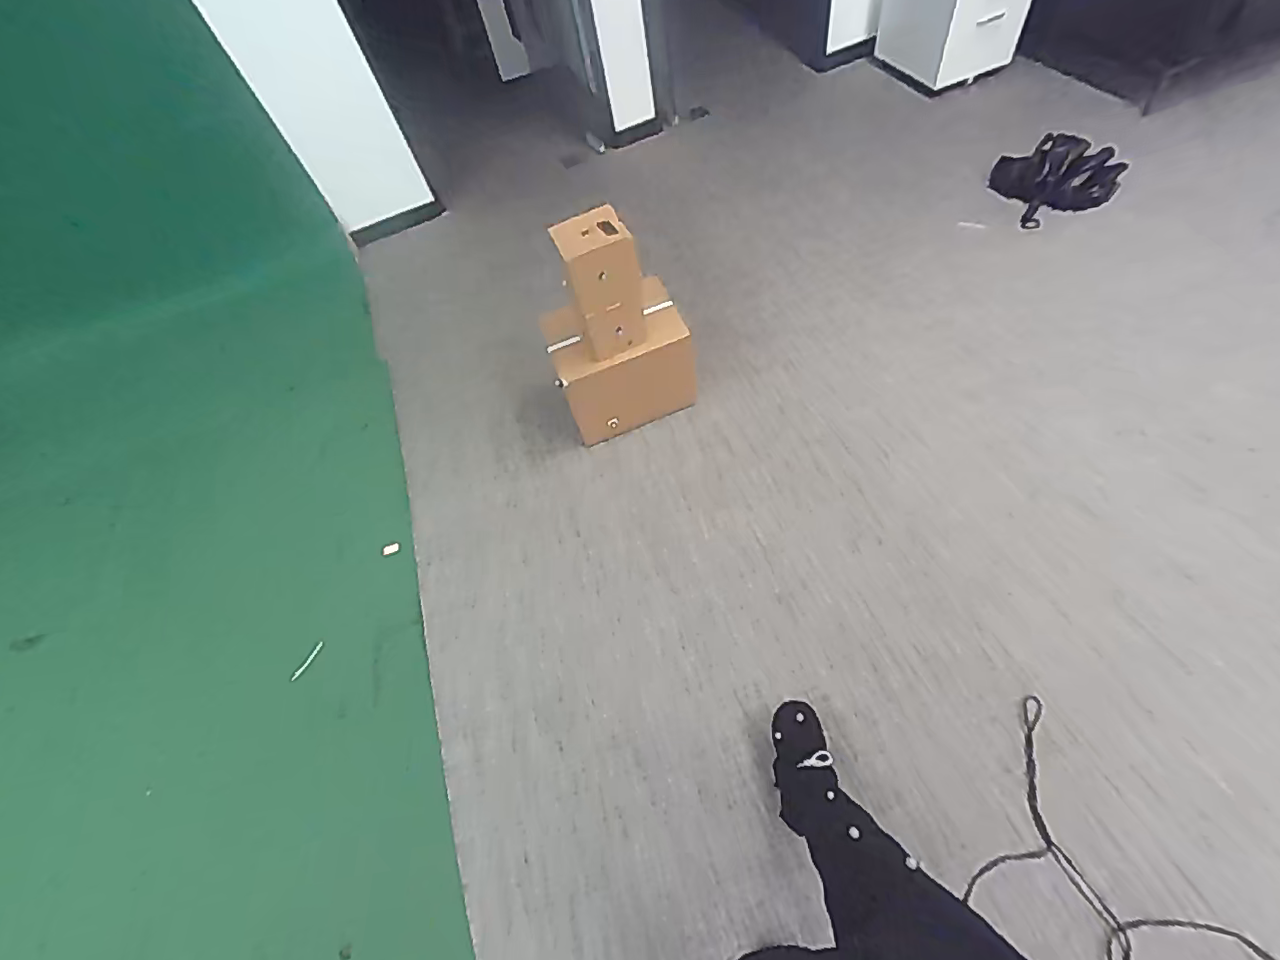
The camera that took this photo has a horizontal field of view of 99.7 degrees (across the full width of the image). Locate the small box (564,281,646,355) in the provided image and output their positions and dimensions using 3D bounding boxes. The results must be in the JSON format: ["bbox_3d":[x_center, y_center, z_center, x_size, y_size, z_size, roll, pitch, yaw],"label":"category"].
[{"bbox_3d":[-0.095,-0.481,1.537,0.168,0.176,0.179,-25,58,-6],"label":"small box"}]

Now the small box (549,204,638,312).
[{"bbox_3d":[-0.112,-0.570,1.399,0.179,0.176,0.168,-23,57,-3],"label":"small box"}]
